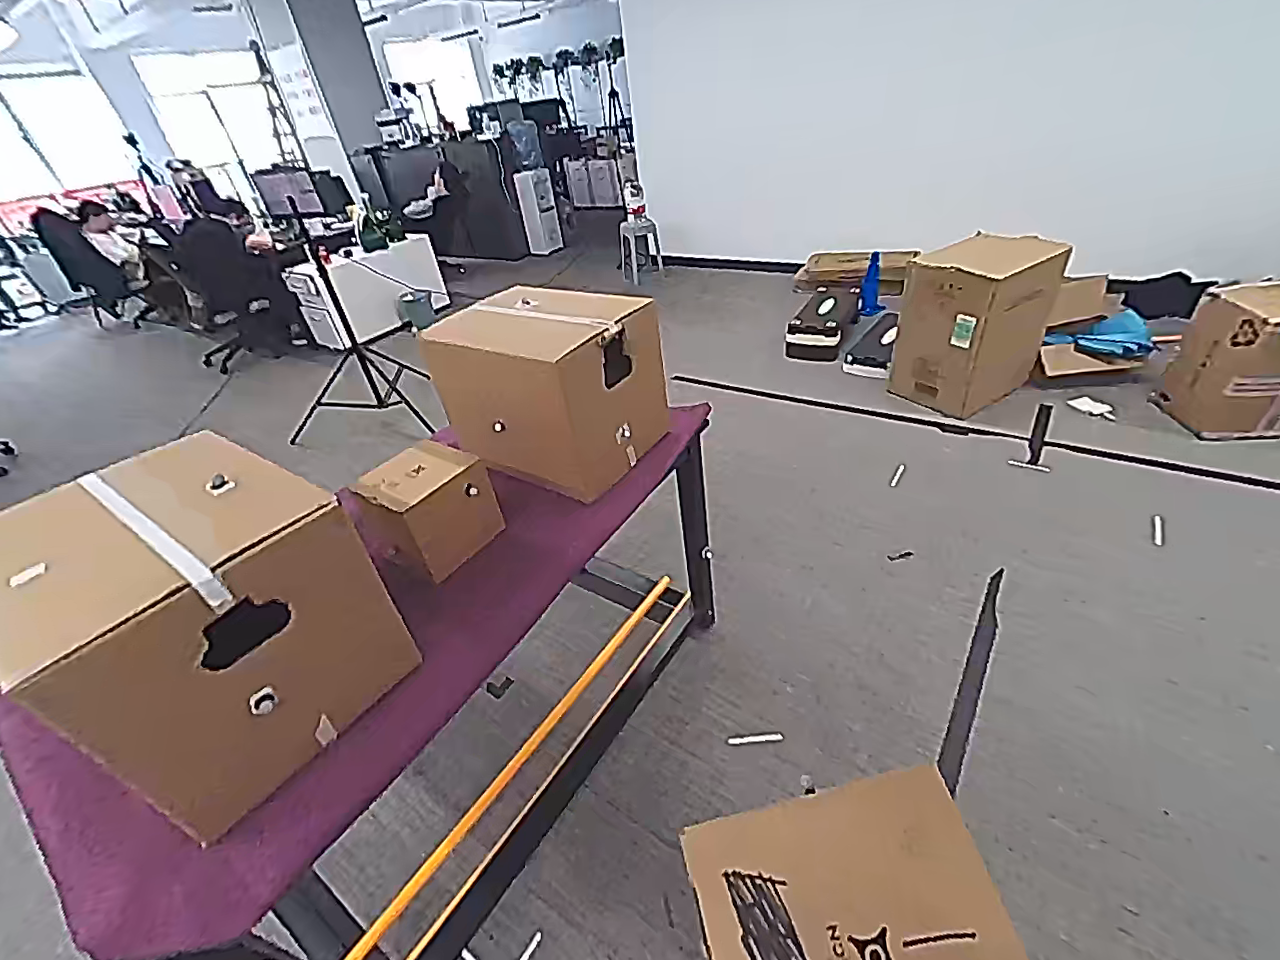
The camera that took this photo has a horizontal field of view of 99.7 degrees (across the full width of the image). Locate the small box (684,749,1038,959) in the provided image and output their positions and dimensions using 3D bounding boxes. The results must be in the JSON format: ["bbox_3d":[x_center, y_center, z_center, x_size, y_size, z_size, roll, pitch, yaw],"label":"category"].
[{"bbox_3d":[0.145,0.306,0.378,0.179,0.176,0.168,-17,57,3],"label":"small box"}]

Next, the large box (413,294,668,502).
[{"bbox_3d":[-0.196,-0.196,1.178,0.408,0.320,0.320,16,42,32],"label":"large box"}]
